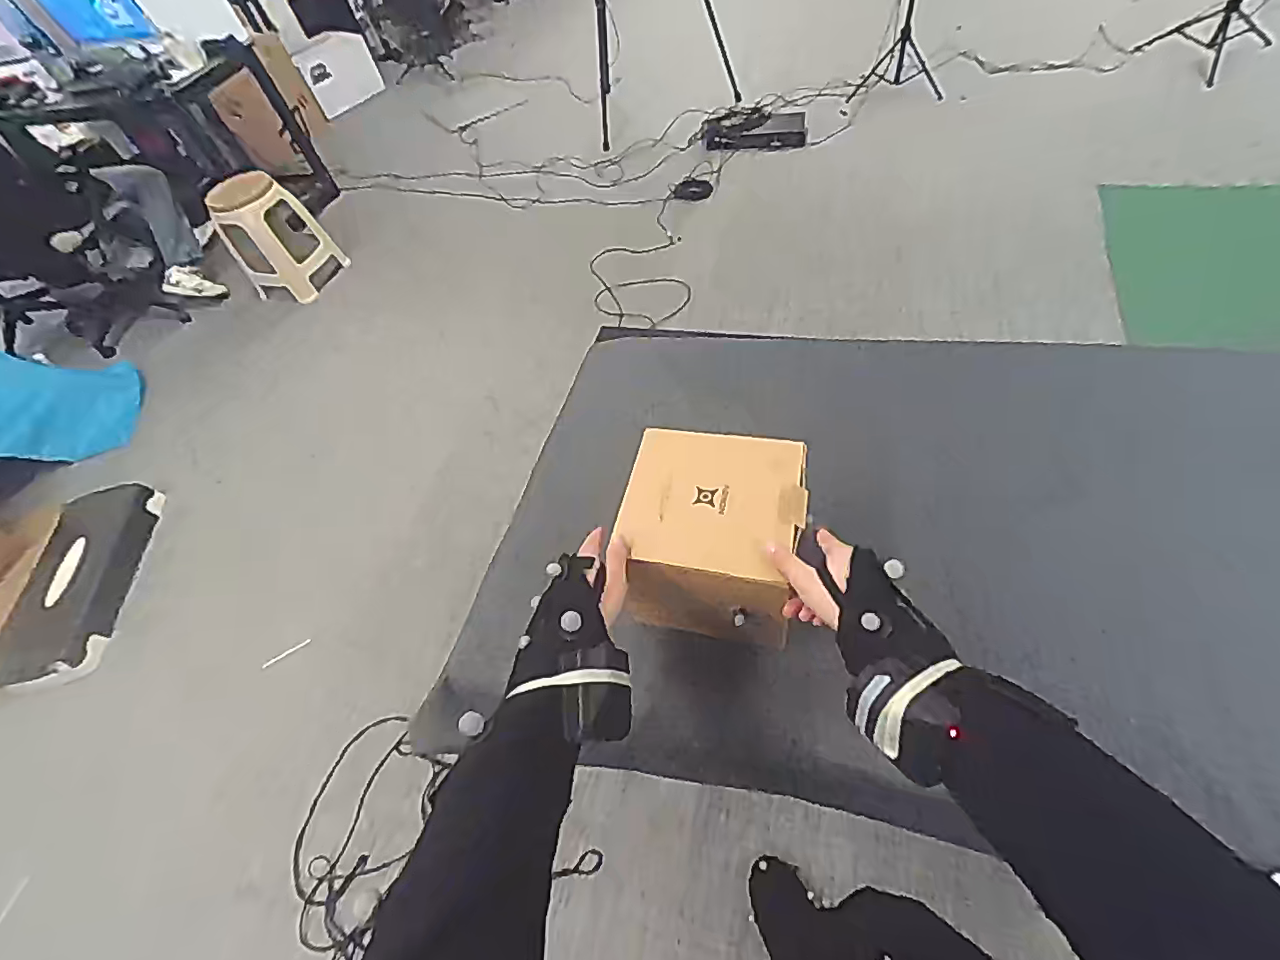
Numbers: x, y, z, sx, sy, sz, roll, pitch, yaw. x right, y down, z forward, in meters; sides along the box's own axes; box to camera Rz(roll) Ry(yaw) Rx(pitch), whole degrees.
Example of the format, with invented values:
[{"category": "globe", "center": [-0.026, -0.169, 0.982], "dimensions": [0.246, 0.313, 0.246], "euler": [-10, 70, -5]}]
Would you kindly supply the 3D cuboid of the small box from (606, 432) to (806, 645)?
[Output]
[{"category": "small box", "center": [0.082, 0.068, 0.598], "dimensions": [0.179, 0.176, 0.168], "euler": [5, 55, 16]}]
